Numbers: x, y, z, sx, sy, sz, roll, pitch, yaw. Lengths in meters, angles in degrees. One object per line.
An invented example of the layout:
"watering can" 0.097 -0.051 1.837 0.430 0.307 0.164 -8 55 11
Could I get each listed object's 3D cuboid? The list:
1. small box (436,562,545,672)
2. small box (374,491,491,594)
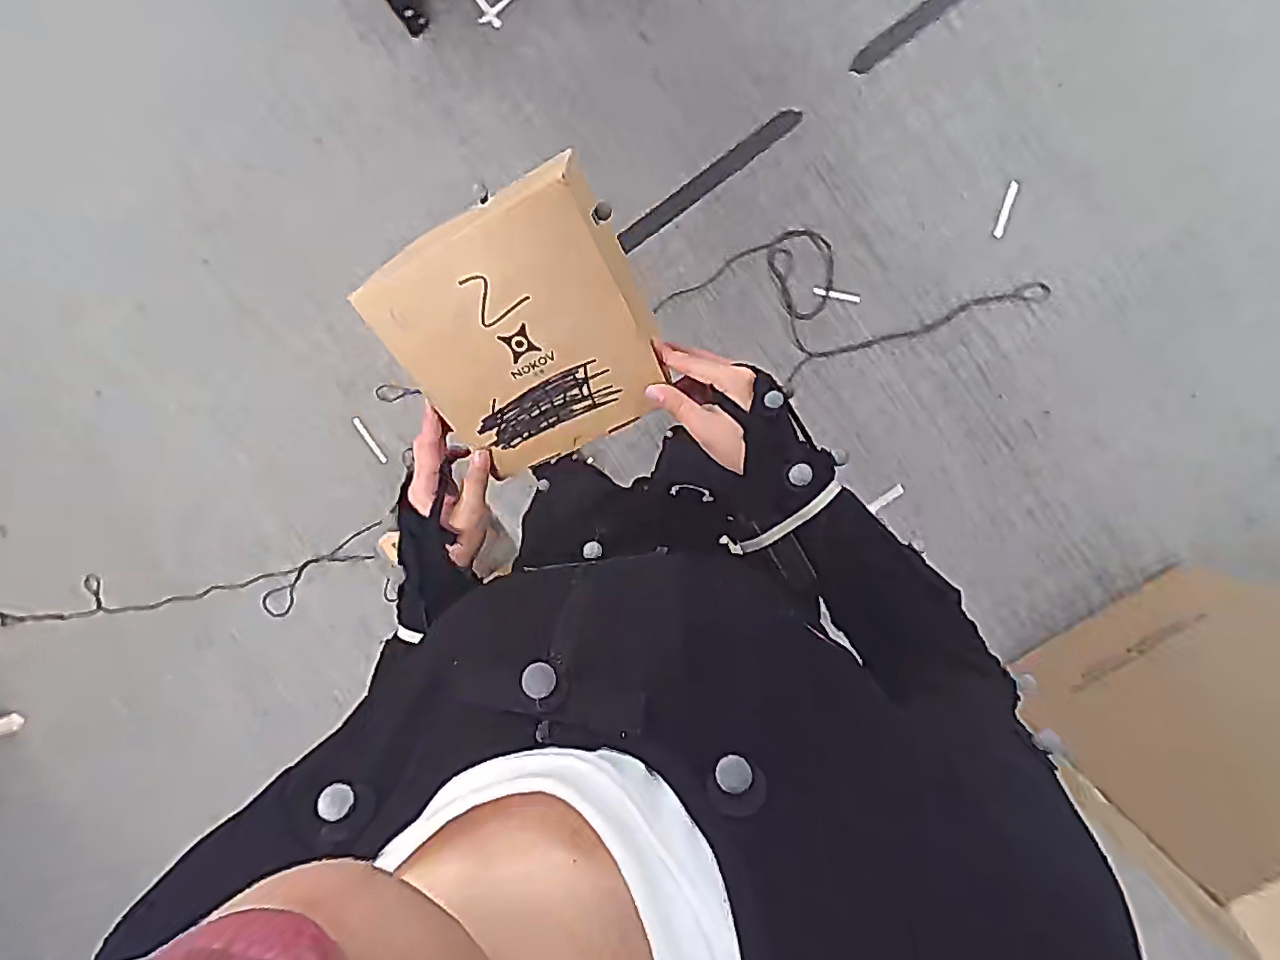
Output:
"small box" -0.363 0.333 1.347 0.168 0.176 0.179 -35 93 8
"small box" -0.502 0.148 1.336 0.179 0.176 0.168 -37 93 8
